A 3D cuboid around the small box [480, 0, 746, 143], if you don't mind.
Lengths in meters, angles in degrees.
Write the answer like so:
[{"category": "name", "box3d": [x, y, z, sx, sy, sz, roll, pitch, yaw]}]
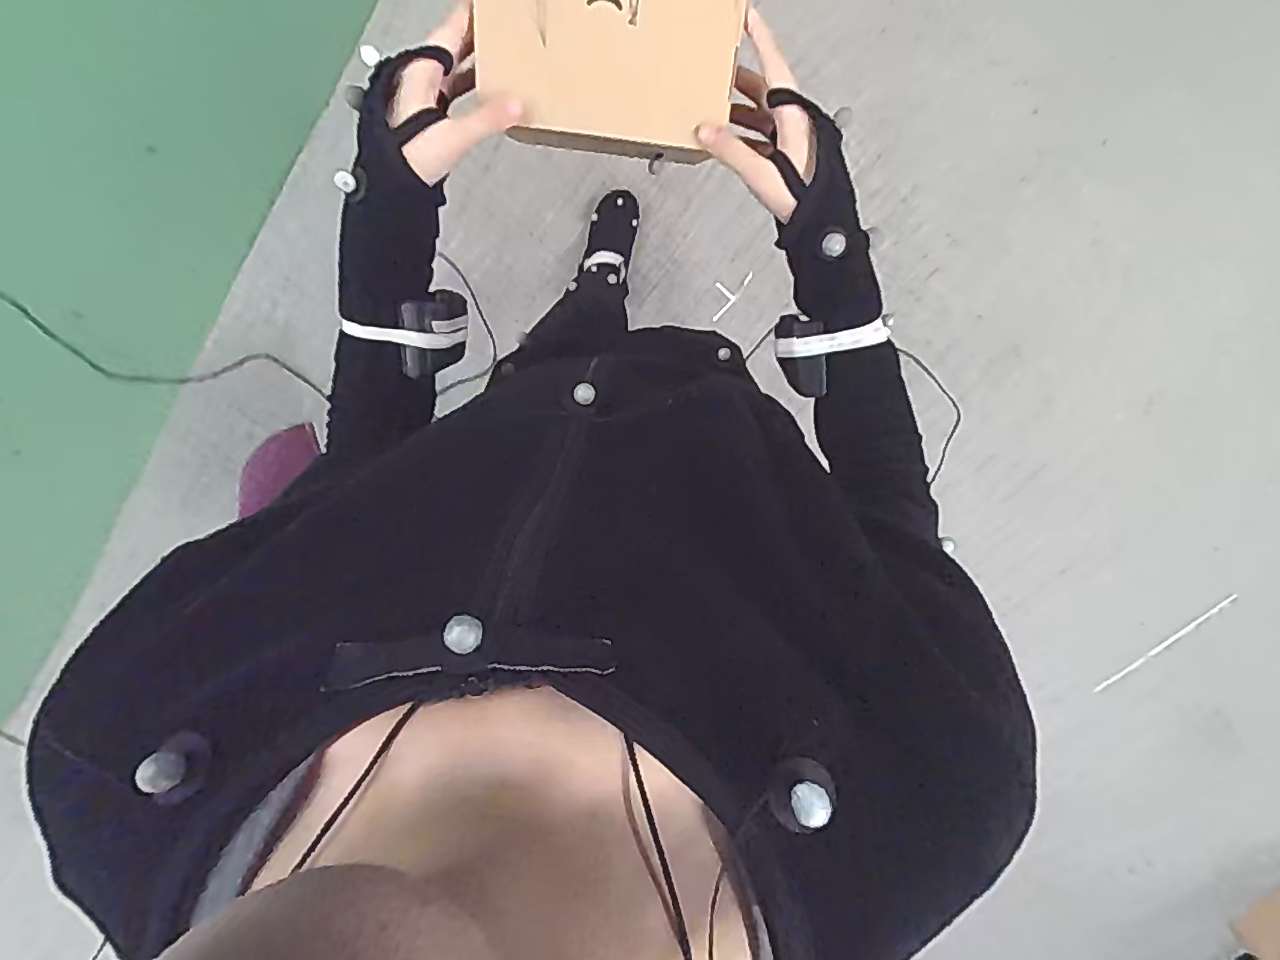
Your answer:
[{"category": "small box", "box3d": [-0.017, -0.370, 0.415, 0.179, 0.176, 0.168, 5, 117, -4]}]
